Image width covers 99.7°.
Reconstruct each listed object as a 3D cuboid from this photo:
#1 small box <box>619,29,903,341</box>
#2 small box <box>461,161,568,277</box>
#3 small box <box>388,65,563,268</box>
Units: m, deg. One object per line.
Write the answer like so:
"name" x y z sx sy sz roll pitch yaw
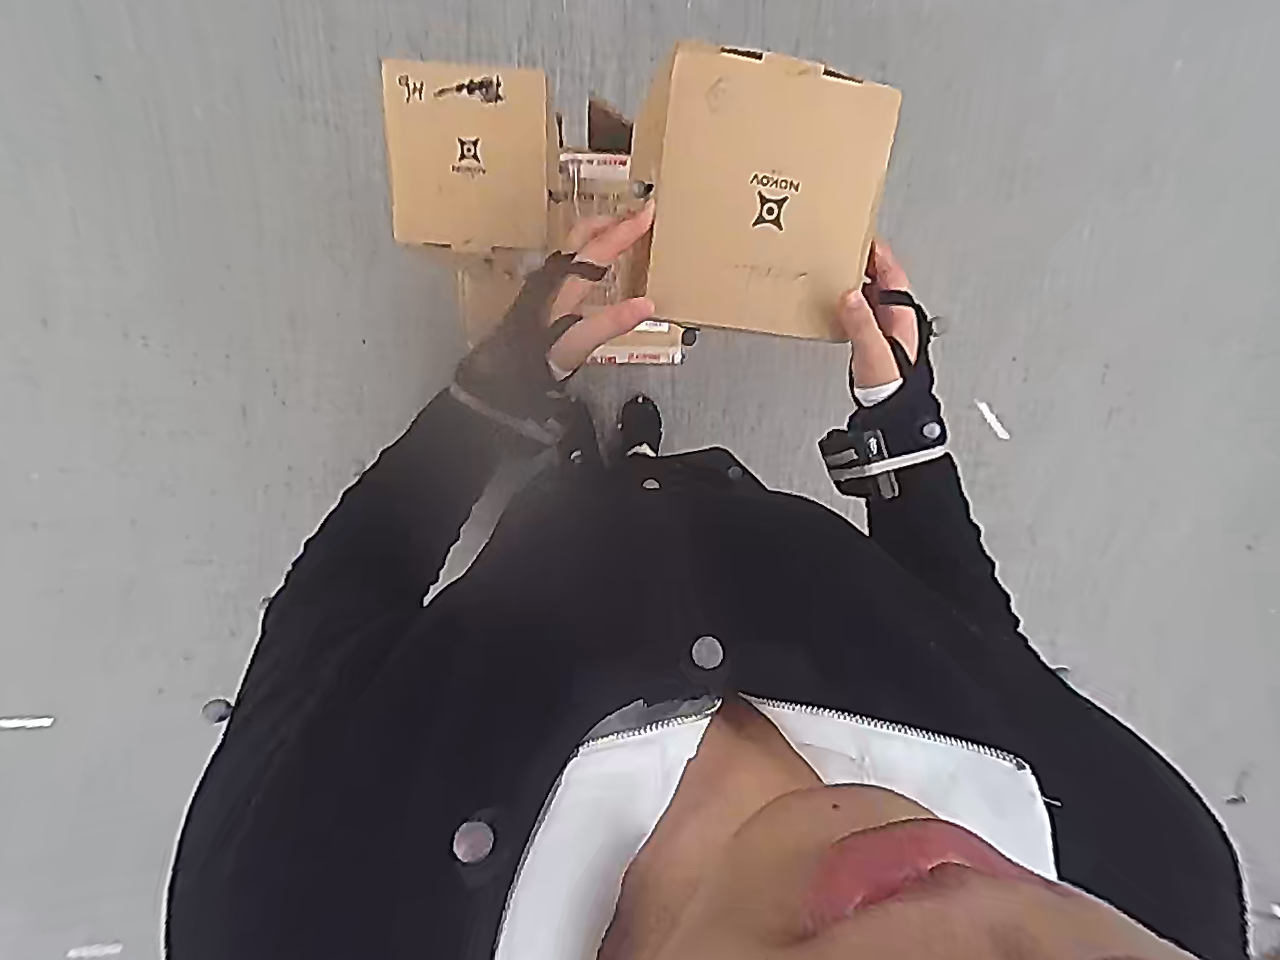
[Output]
"small box" 0.078 -0.220 0.454 0.168 0.176 0.179 4 108 -11
"small box" -0.198 -0.407 0.808 0.168 0.176 0.179 -1 105 -3
"small box" -0.182 -0.358 0.652 0.168 0.176 0.179 1 105 -4
